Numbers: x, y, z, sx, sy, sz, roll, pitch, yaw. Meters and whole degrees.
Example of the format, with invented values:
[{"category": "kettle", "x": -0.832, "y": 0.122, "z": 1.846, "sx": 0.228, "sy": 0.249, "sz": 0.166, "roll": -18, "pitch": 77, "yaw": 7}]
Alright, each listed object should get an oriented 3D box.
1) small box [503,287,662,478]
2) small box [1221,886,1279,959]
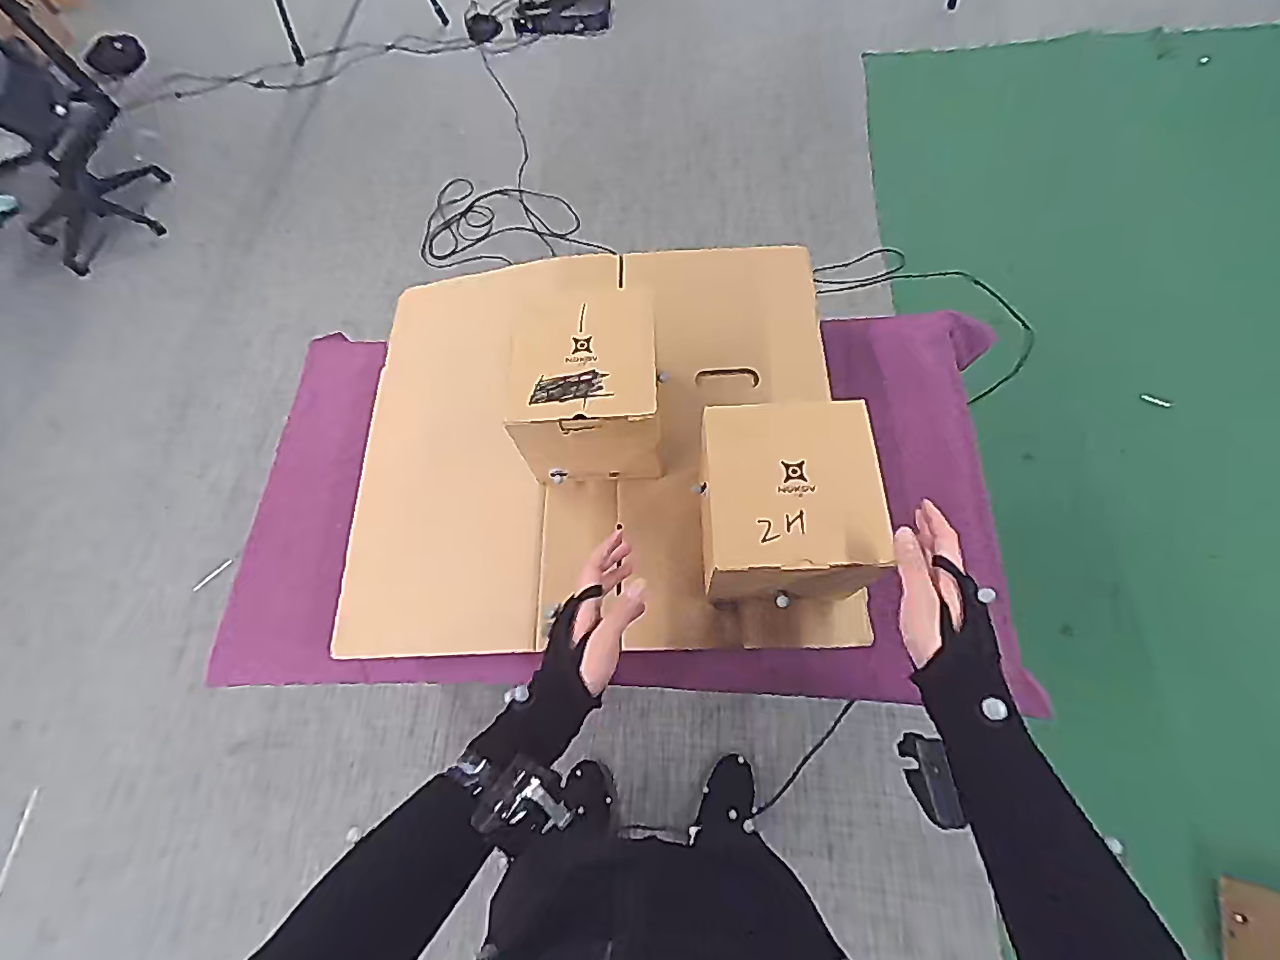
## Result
[{"category": "small box", "x": -0.059, "y": -0.108, "z": 0.668, "sx": 0.168, "sy": 0.176, "sz": 0.179, "roll": -2, "pitch": 66, "yaw": 3}, {"category": "small box", "x": 1.300, "y": 0.926, "z": 1.046, "sx": 0.179, "sy": 0.176, "sz": 0.168, "roll": 14, "pitch": 69, "yaw": 14}]
